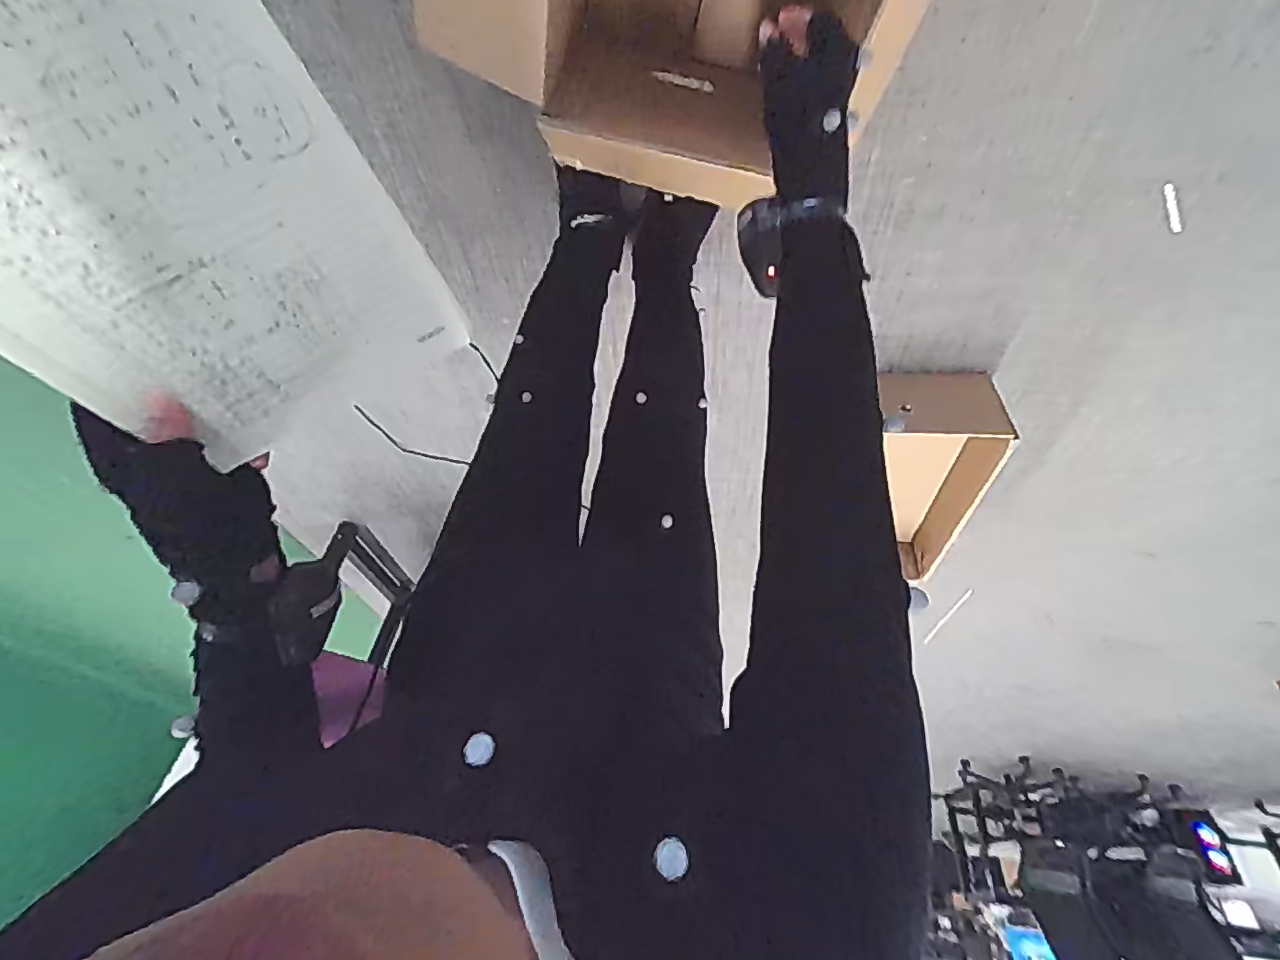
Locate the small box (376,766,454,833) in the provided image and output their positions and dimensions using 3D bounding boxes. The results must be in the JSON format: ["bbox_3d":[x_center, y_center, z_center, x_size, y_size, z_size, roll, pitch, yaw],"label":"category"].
[{"bbox_3d":[-0.718,1.020,1.736,0.168,0.176,0.179,4,143,4],"label":"small box"}]
